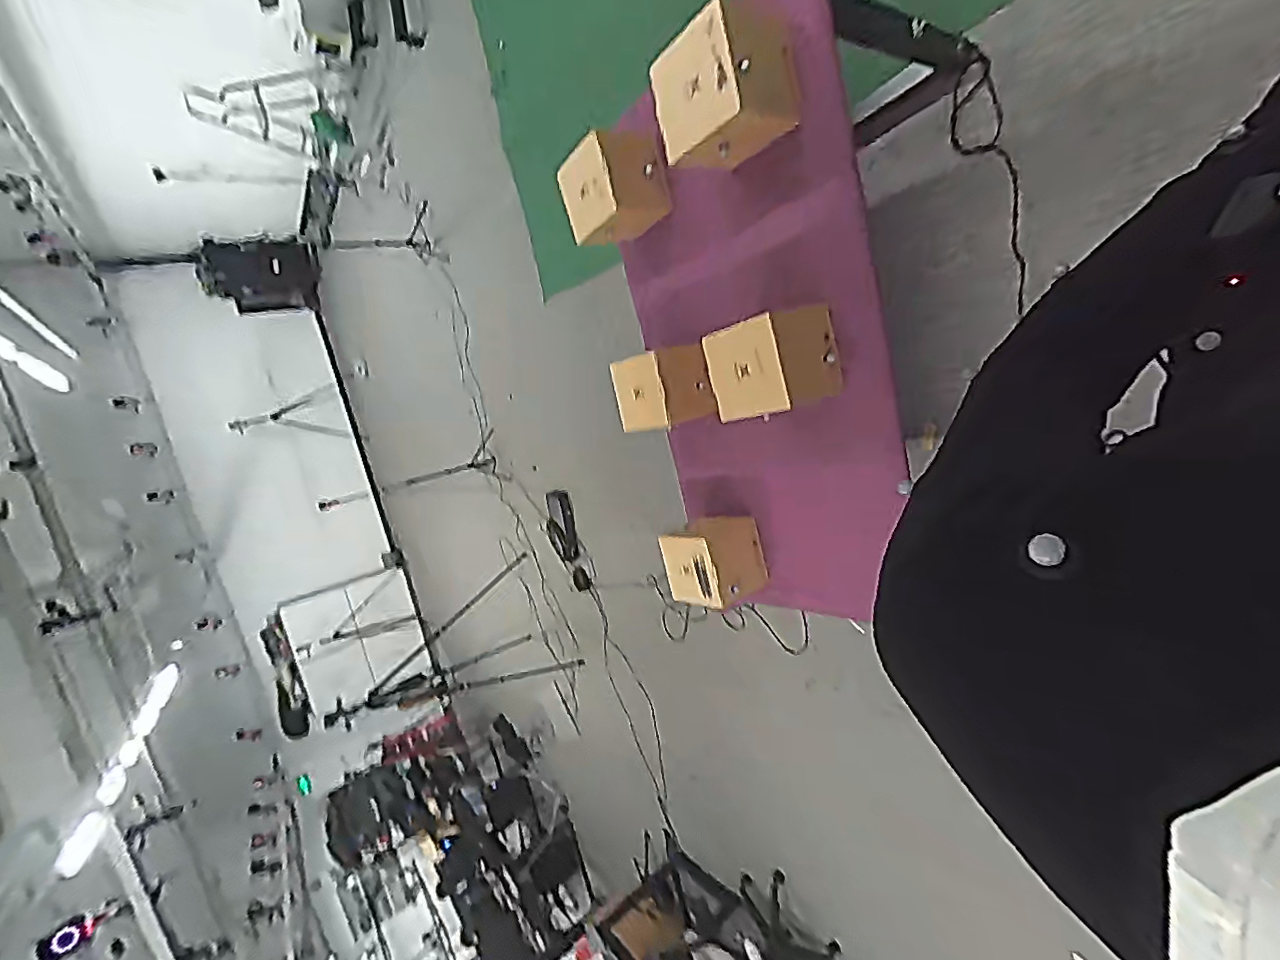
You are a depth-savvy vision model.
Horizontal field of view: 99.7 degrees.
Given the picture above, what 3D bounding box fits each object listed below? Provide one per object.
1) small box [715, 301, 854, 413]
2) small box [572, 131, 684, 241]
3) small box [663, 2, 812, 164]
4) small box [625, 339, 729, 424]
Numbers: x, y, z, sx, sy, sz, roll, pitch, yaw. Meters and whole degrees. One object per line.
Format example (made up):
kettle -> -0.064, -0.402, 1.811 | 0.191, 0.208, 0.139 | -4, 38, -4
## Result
small box -> 0.277, -0.234, 1.041 | 0.179, 0.176, 0.168 | -3, 104, 57
small box -> -0.027, -0.673, 1.252 | 0.179, 0.176, 0.168 | -6, 104, 56
small box -> 0.172, -0.683, 0.958 | 0.179, 0.176, 0.168 | -2, 106, 56
small box -> 0.093, -0.236, 1.310 | 0.179, 0.176, 0.168 | -1, 104, 54
